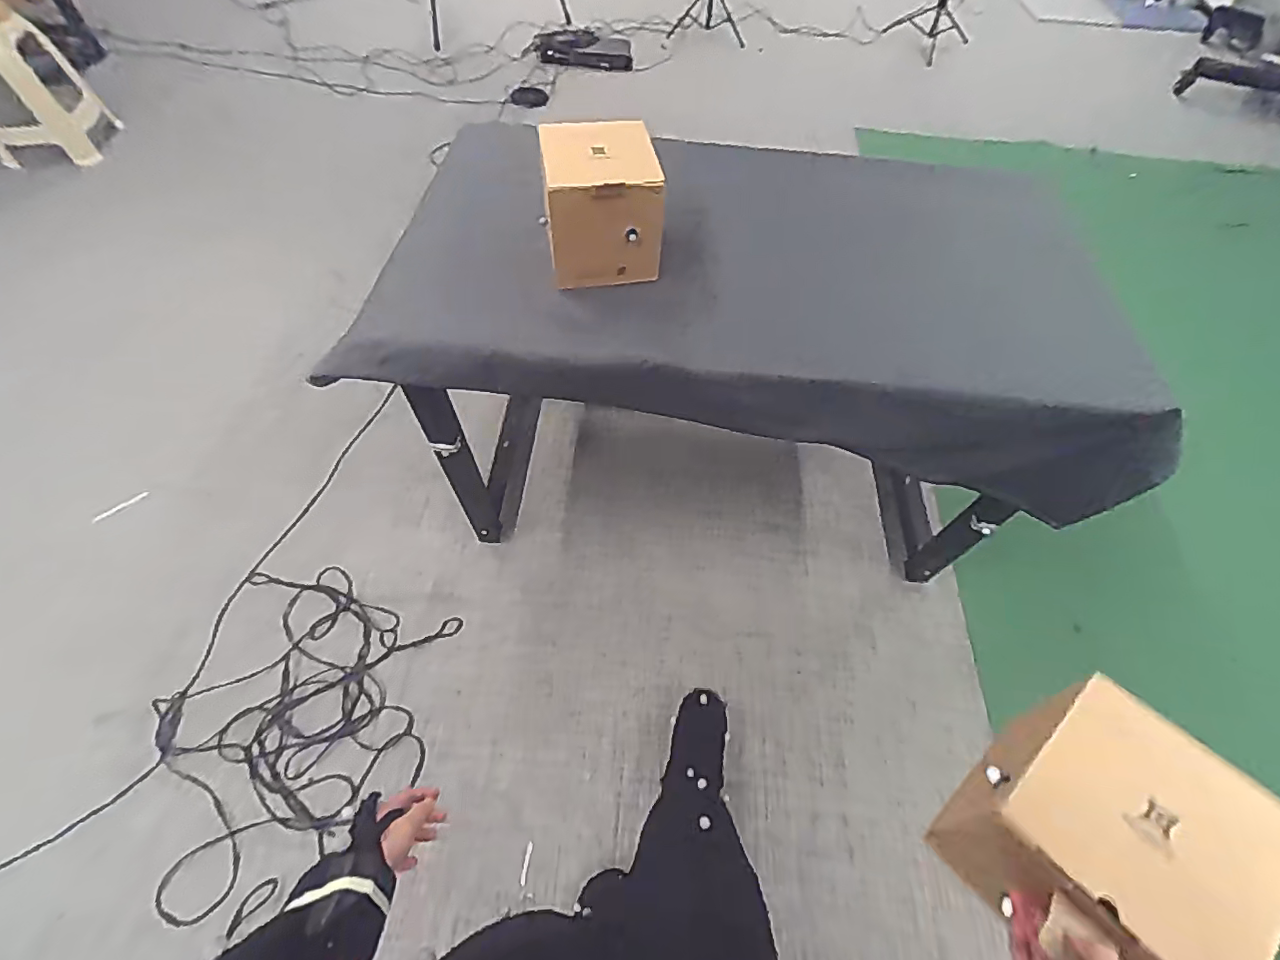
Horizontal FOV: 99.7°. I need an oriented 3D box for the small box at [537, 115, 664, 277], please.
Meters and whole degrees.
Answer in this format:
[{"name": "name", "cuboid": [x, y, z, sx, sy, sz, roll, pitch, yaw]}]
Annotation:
[{"name": "small box", "cuboid": [-0.065, -0.434, 0.840, 0.168, 0.176, 0.179, -7, 58, -9]}]
